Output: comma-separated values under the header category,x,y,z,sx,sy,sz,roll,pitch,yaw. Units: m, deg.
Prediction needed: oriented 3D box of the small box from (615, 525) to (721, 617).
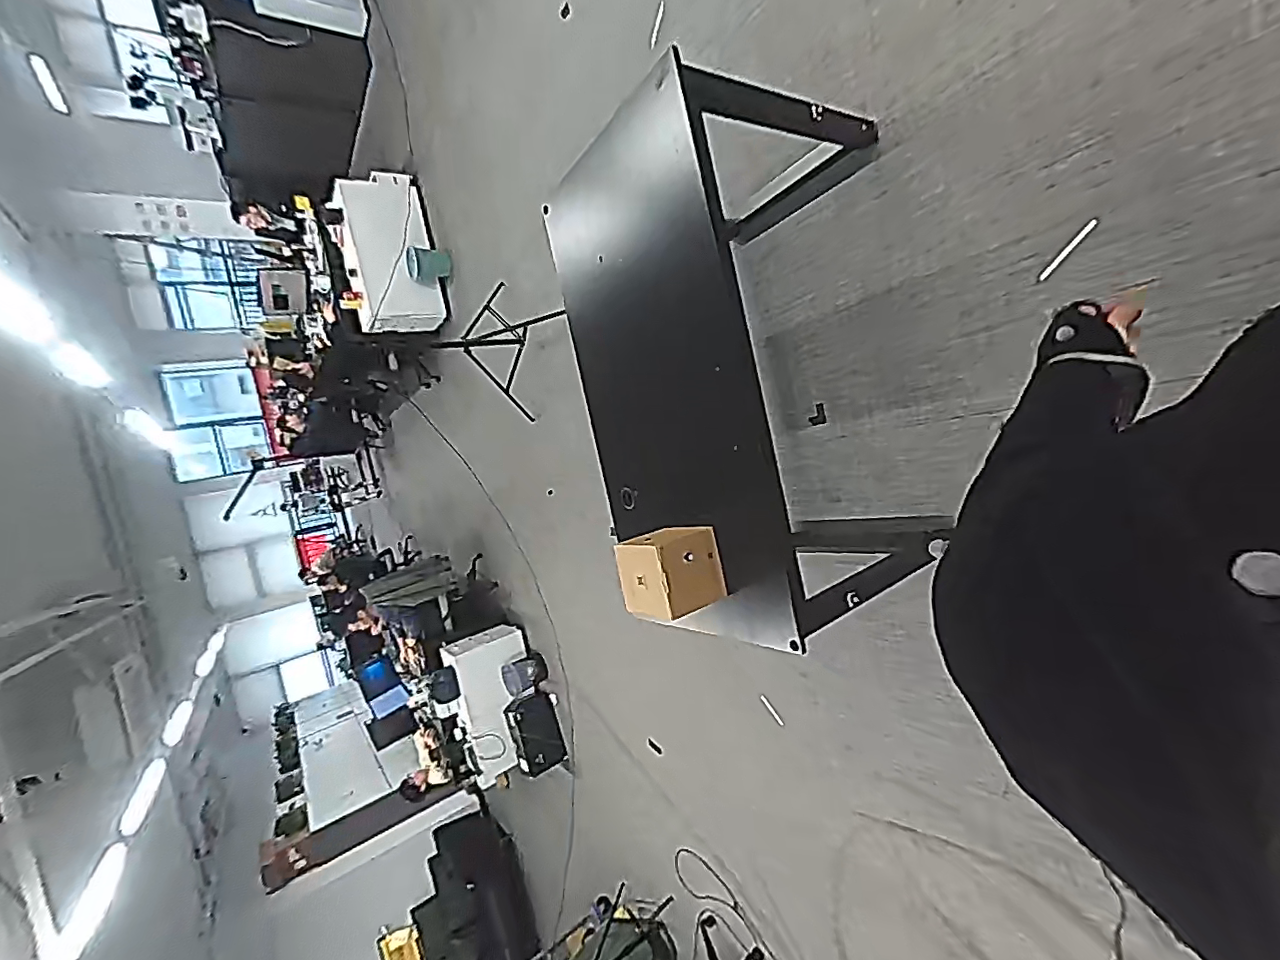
category,x,y,z,sx,sy,sz,roll,pitch,yaw
small box,0.069,0.201,1.248,0.179,0.176,0.168,-9,93,56
